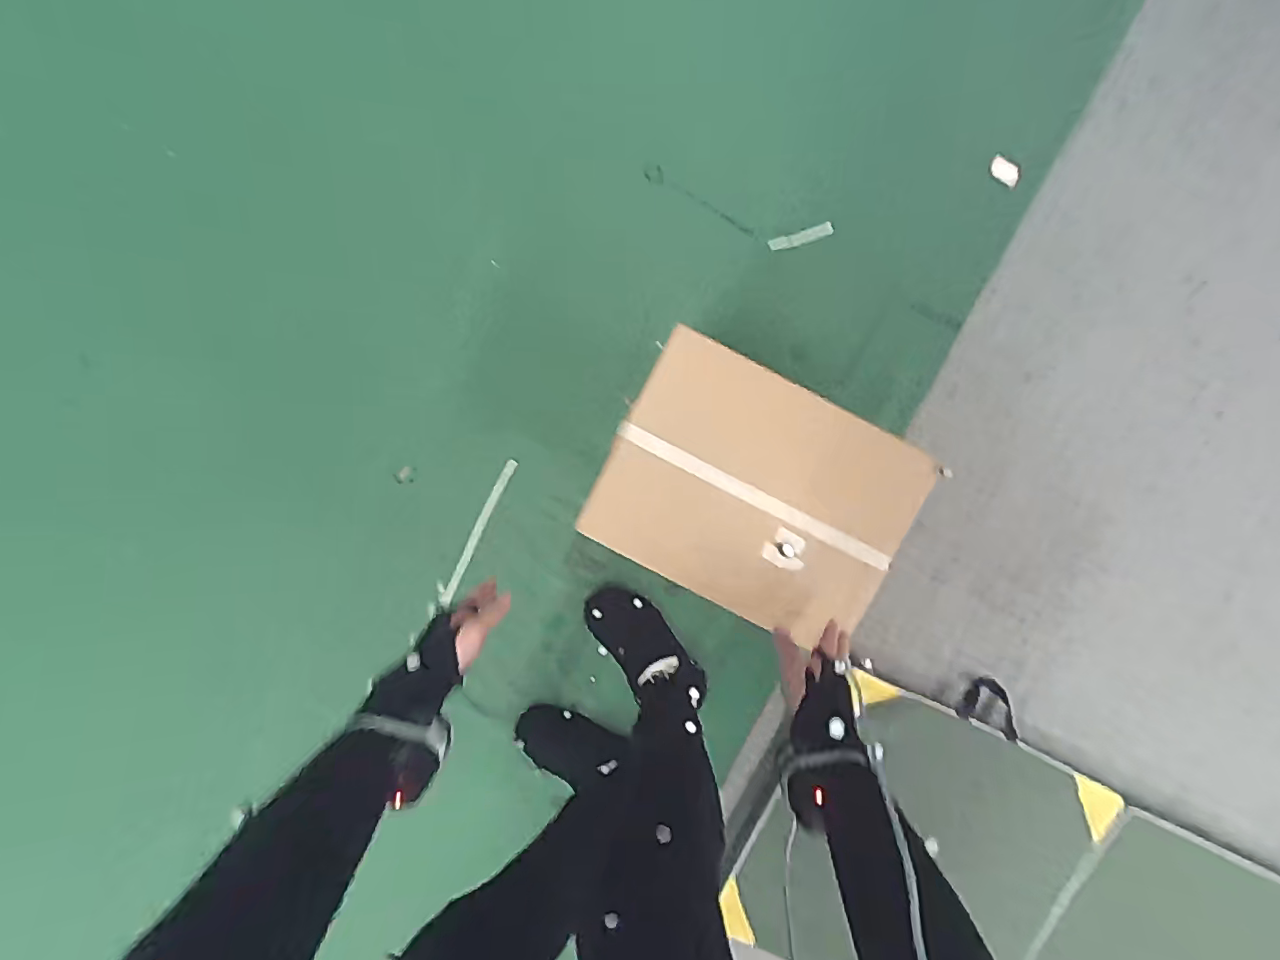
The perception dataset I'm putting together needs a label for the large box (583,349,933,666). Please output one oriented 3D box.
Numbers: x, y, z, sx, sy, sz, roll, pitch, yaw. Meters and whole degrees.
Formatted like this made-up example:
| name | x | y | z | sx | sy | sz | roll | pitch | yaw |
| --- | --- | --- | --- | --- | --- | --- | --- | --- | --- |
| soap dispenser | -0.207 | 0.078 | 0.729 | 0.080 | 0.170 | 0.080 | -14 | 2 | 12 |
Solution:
| name | x | y | z | sx | sy | sz | roll | pitch | yaw |
| --- | --- | --- | --- | --- | --- | --- | --- | --- | --- |
| large box | 0.161 | 0.033 | 0.895 | 0.408 | 0.320 | 0.320 | 28 | 94 | -1 |
